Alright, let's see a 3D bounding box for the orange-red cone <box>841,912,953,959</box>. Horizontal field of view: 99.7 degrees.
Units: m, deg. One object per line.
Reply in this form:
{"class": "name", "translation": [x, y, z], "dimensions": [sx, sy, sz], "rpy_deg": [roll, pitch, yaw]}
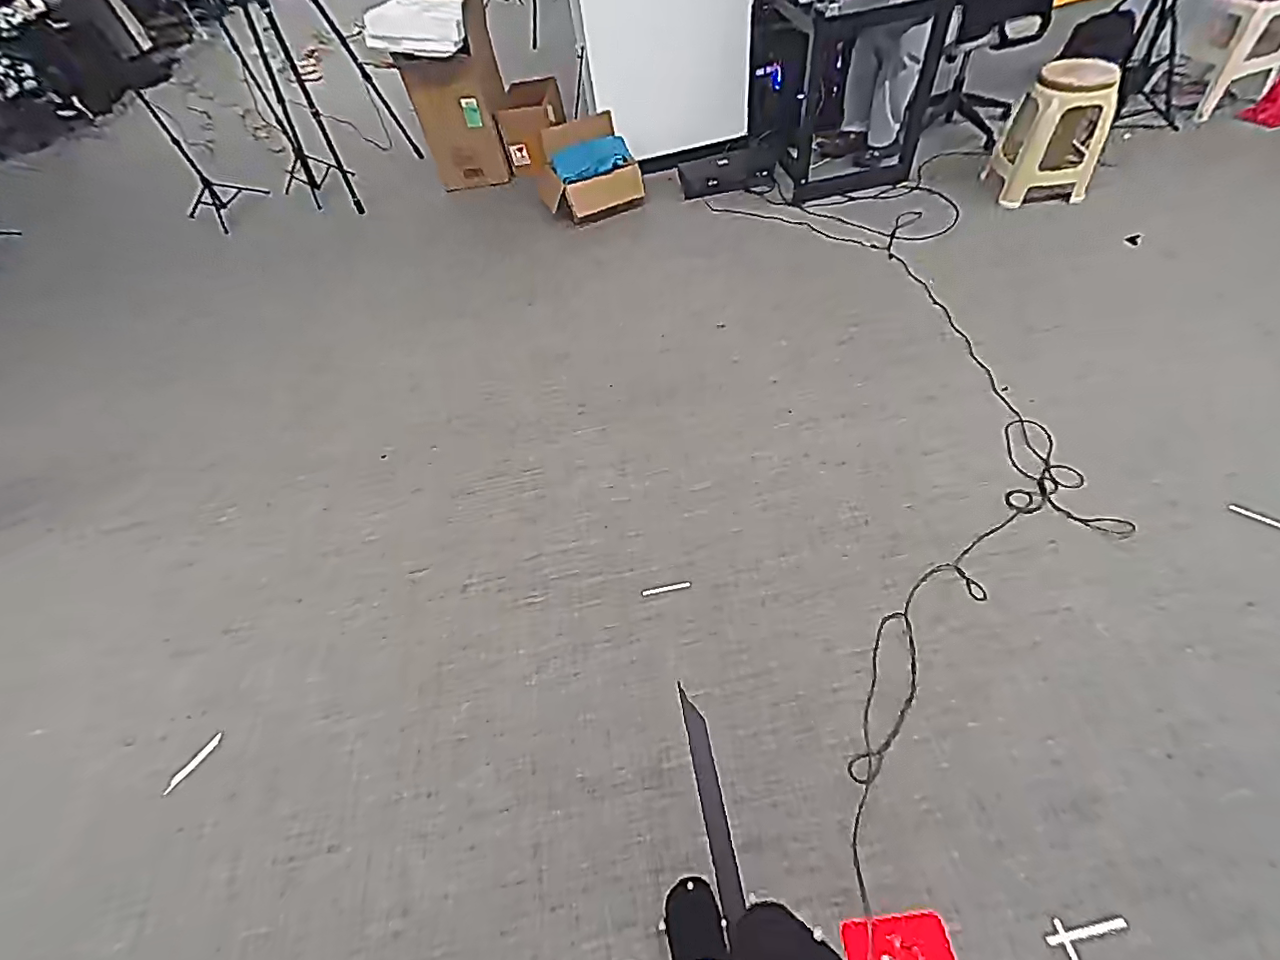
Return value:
{"class": "orange-red cone", "translation": [0.470, 0.830, 0.859], "dimensions": [0.199, 0.360, 0.198], "rpy_deg": [-7, 54, 2]}
